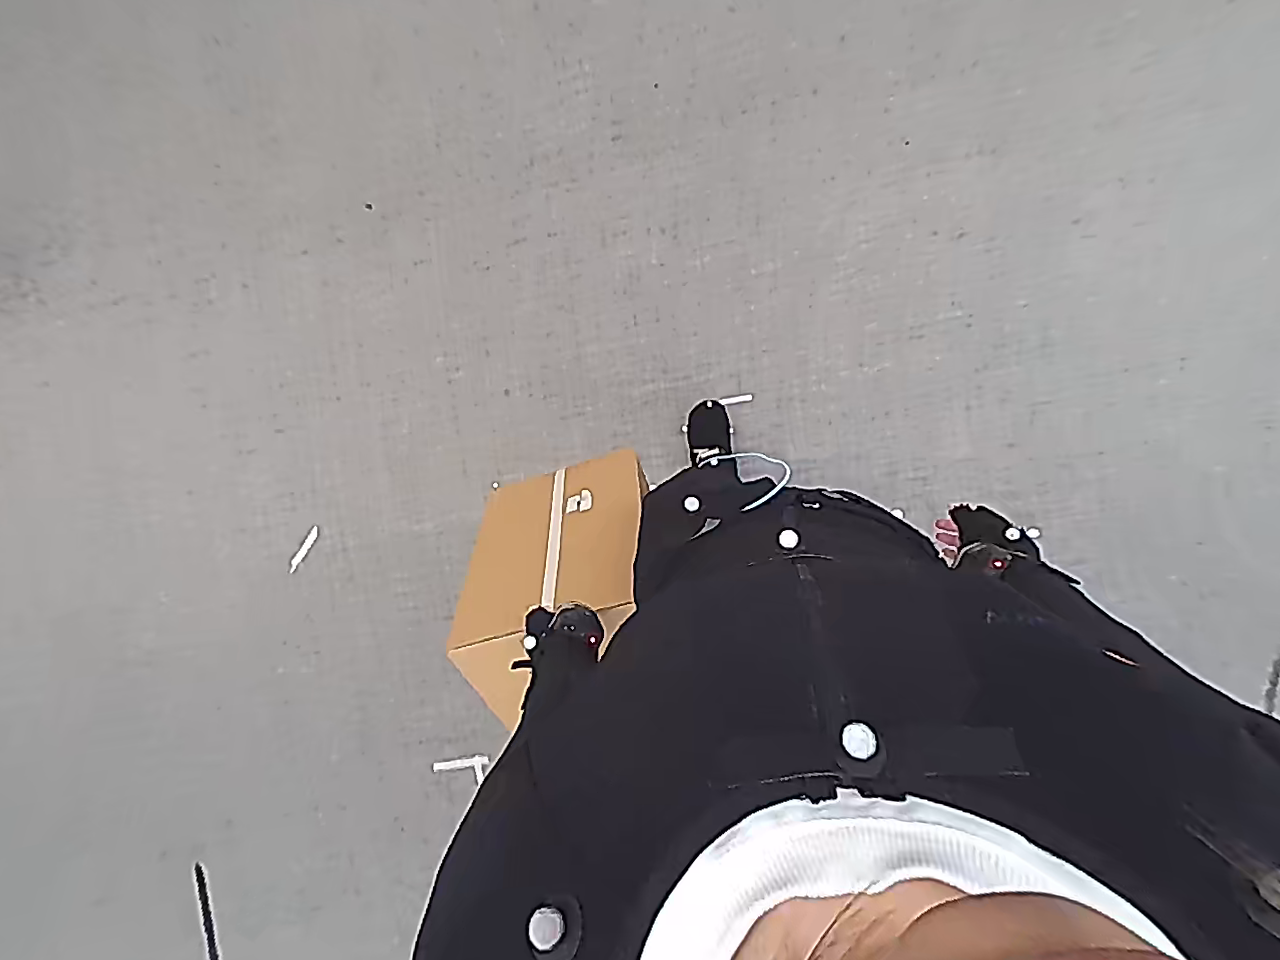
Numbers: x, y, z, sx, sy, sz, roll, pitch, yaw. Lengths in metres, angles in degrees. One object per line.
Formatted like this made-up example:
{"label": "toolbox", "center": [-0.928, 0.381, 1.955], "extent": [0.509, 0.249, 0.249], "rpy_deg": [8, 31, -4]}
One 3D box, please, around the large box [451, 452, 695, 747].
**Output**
{"label": "large box", "center": [-0.105, 0.211, 1.023], "extent": [0.320, 0.408, 0.320], "rpy_deg": [-15, 123, 7]}
